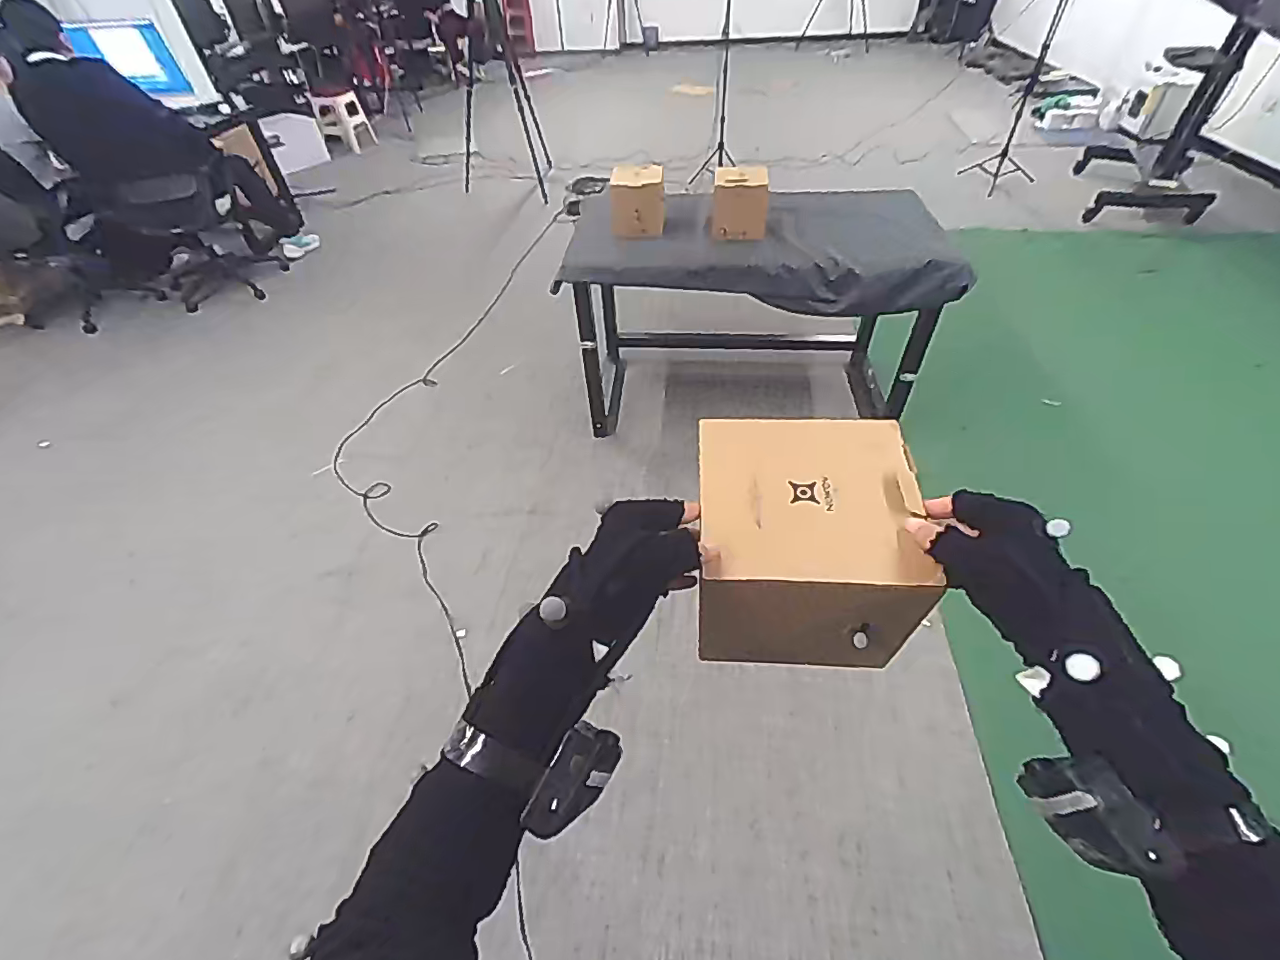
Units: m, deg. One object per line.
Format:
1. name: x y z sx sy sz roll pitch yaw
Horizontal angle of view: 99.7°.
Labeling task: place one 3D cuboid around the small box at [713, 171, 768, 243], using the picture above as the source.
1. small box: 0.327 -0.887 1.763 0.168 0.176 0.179 3 45 7

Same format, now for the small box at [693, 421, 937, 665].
1. small box: 0.139 0.062 0.505 0.179 0.176 0.168 -1 51 7

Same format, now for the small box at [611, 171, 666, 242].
1. small box: 0.000 -0.914 1.814 0.168 0.176 0.179 1 47 5
